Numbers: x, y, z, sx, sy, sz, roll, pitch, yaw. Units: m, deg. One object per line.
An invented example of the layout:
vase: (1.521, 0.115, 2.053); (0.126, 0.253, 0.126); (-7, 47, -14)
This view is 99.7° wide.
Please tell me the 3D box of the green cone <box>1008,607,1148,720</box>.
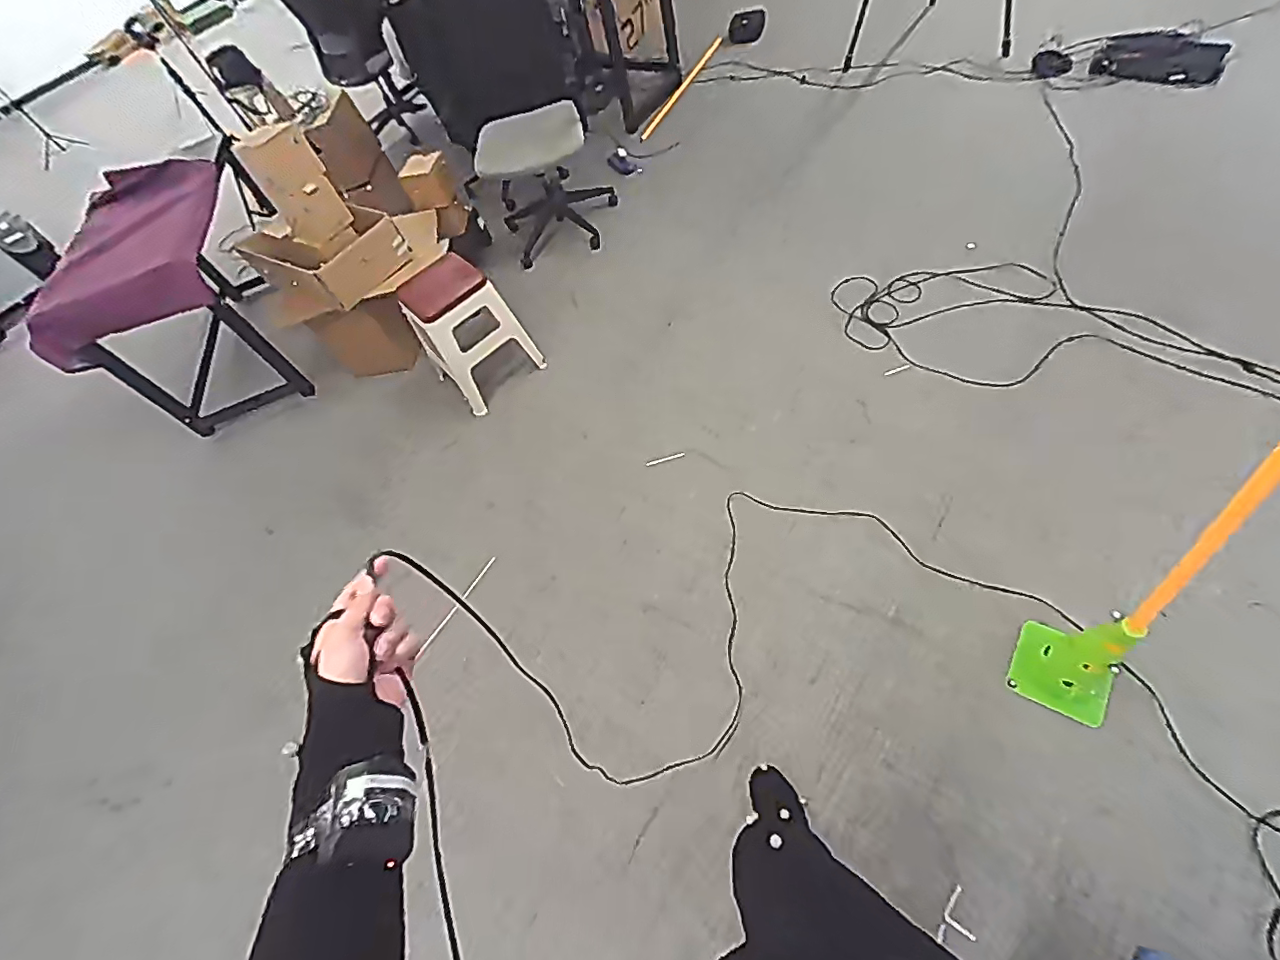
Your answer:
green cone: (1.002, 0.365, 1.190); (0.200, 0.368, 0.202); (22, 65, 26)
